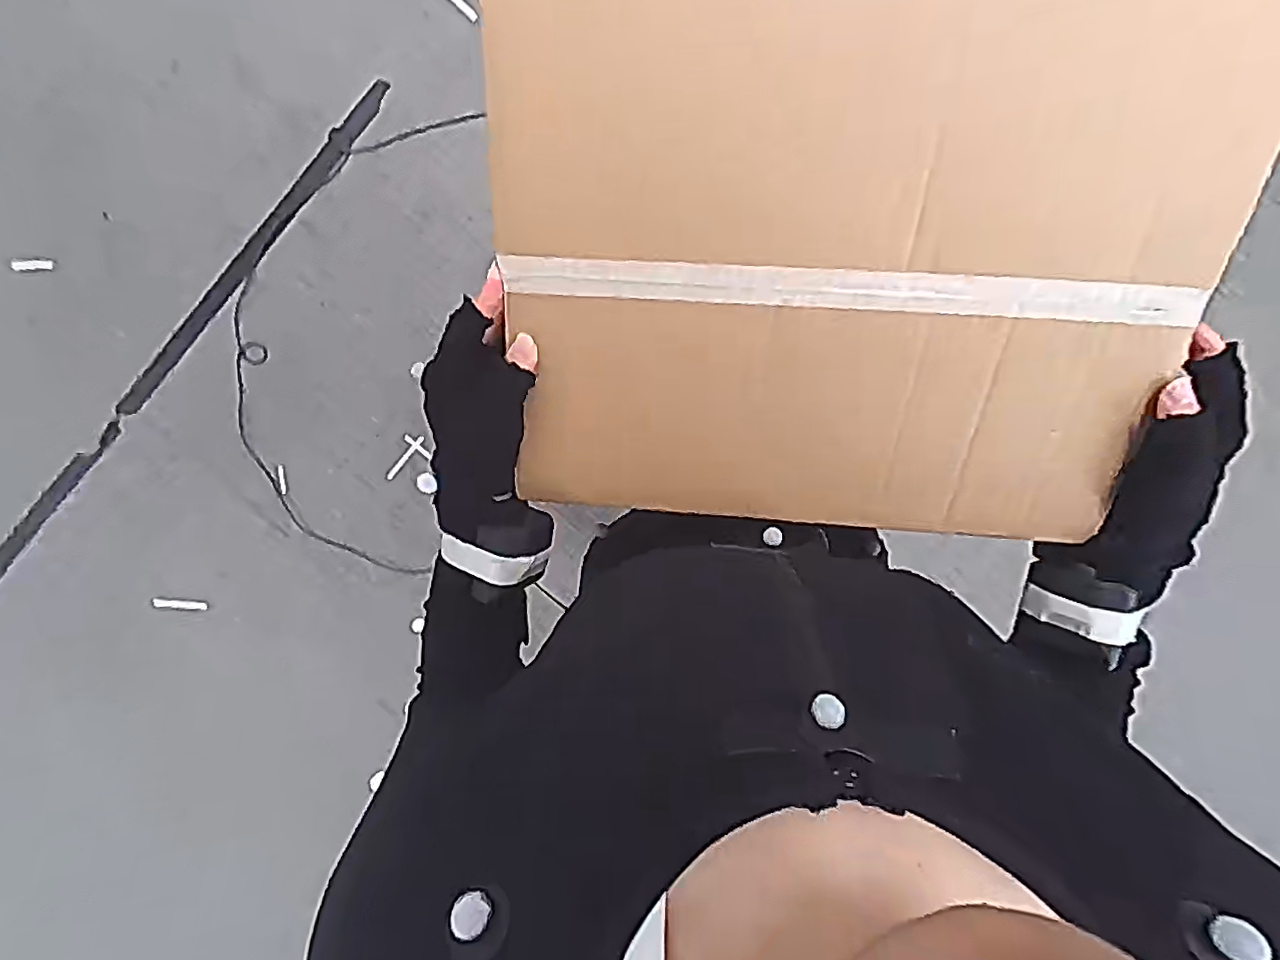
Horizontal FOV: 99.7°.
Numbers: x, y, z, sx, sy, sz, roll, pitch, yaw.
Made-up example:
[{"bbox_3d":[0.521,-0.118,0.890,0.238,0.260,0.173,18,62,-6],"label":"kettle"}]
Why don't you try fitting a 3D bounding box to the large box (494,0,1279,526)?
[{"bbox_3d":[0.126,-0.179,0.463,0.408,0.320,0.320,4,116,3],"label":"large box"}]
